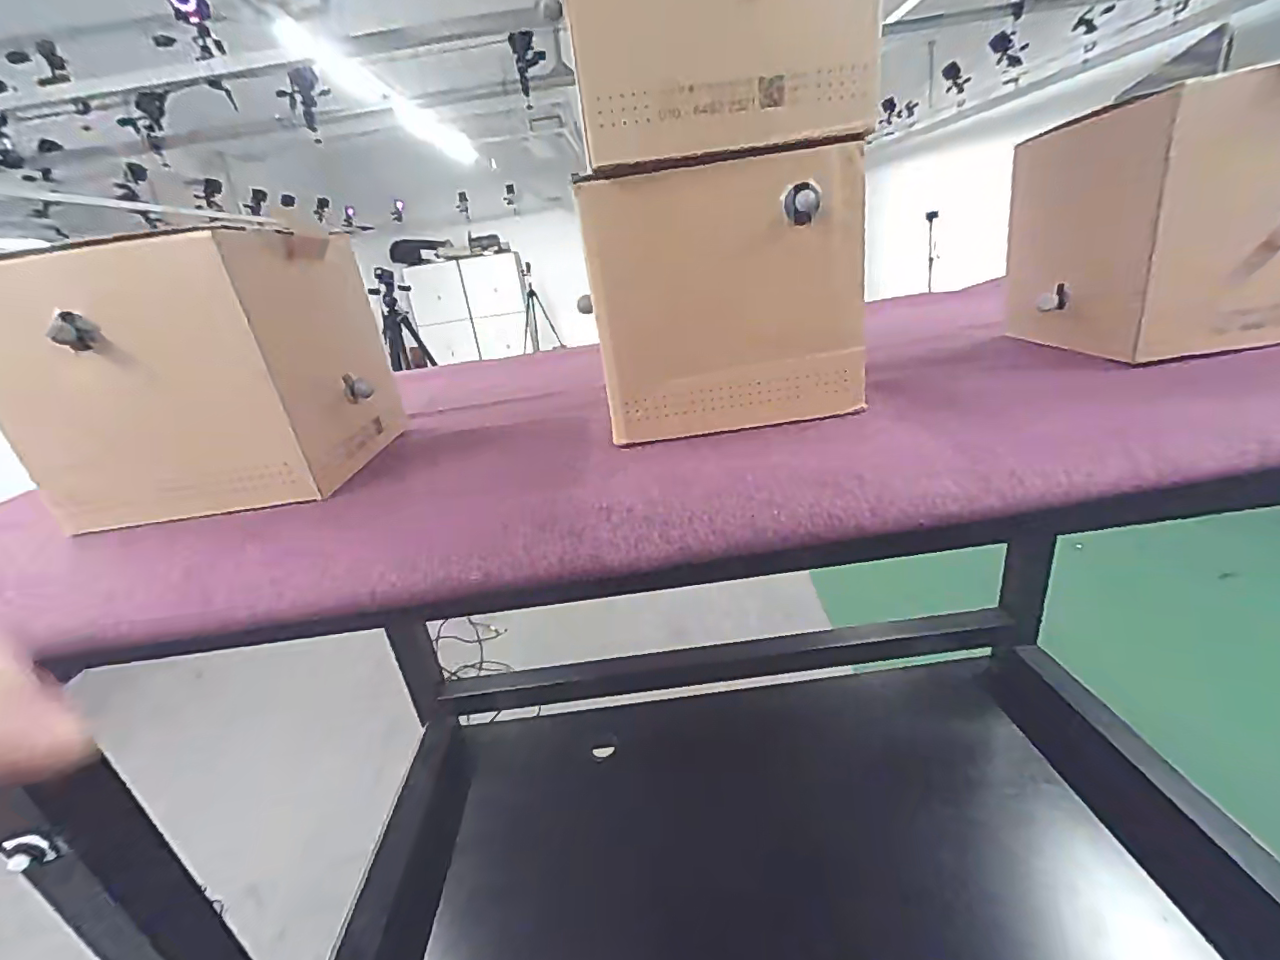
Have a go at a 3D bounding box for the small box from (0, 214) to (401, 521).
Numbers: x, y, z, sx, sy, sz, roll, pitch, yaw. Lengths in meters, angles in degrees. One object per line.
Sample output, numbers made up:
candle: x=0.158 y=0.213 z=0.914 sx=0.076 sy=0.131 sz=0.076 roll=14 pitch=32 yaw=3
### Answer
small box: x=-0.307 y=-0.082 z=0.391 sx=0.179 sy=0.176 sz=0.168 roll=-8 pitch=24 yaw=1

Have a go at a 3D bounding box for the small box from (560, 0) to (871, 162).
small box: x=0.035 y=-0.289 z=0.344 sx=0.168 sy=0.176 sz=0.179 roll=-7 pitch=20 yaw=-2

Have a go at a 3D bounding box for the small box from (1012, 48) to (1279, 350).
small box: x=0.408 y=-0.197 z=0.397 sx=0.168 sy=0.176 sz=0.179 roll=-7 pitch=21 yaw=8

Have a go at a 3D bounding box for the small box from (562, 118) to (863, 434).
small box: x=0.051 y=-0.139 z=0.404 sx=0.179 sy=0.176 sz=0.168 roll=-8 pitch=21 yaw=1
